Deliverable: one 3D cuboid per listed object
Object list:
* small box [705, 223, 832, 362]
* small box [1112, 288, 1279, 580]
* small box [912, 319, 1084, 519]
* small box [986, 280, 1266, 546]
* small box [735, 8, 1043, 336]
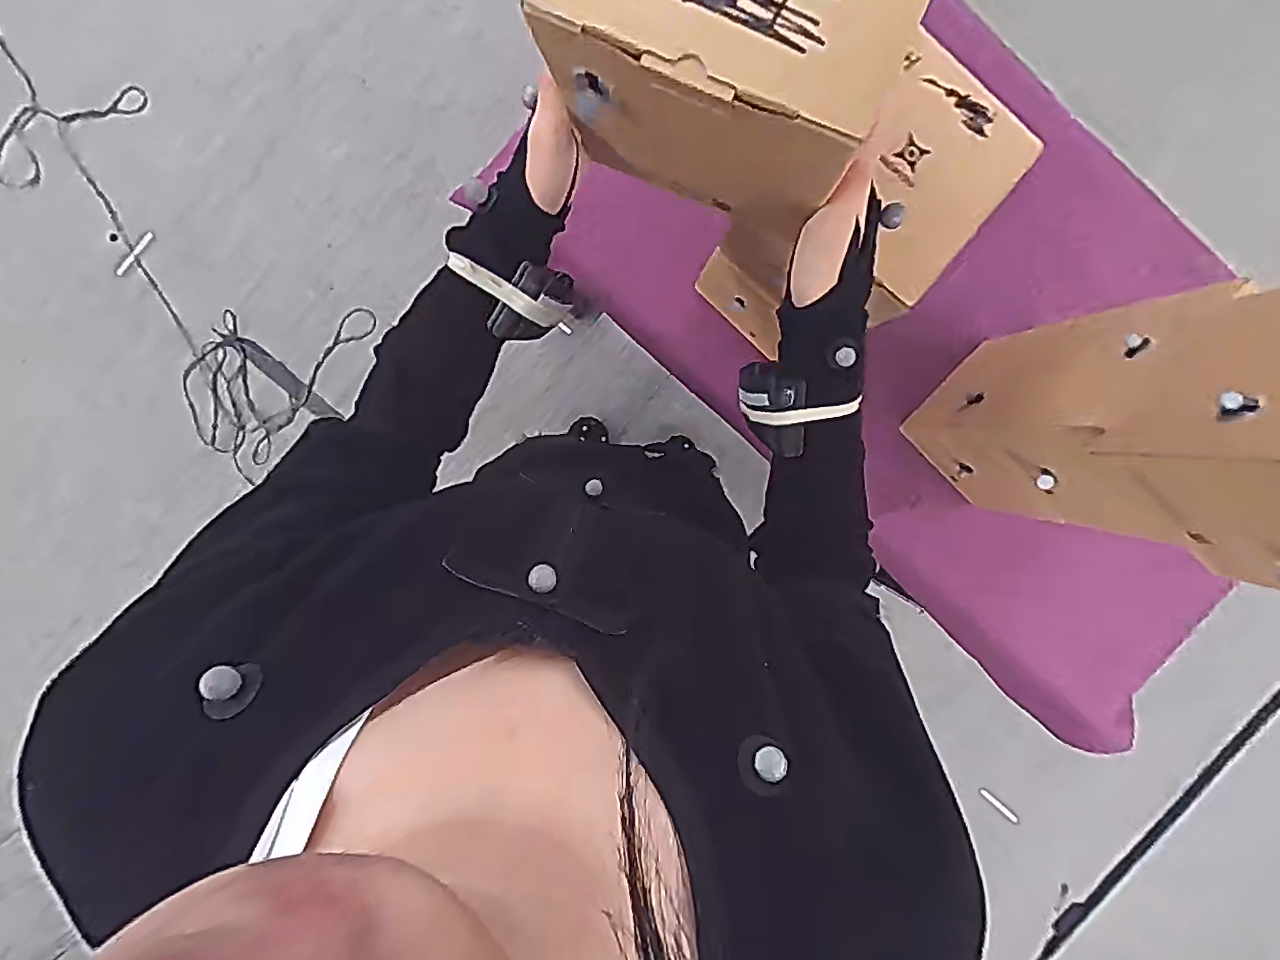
[{"bbox_3d":[0.198,-0.270,0.678,0.168,0.176,0.179,42,91,-5],"label":"small box"},{"bbox_3d":[0.499,-0.030,0.383,0.168,0.176,0.179,41,92,-6],"label":"small box"},{"bbox_3d":[0.494,-0.075,0.706,0.168,0.176,0.179,44,91,-6],"label":"small box"},{"bbox_3d":[0.506,-0.061,0.543,0.168,0.176,0.179,44,92,-5],"label":"small box"},{"bbox_3d":[0.209,-0.262,0.514,0.168,0.176,0.179,39,92,-5],"label":"small box"}]
